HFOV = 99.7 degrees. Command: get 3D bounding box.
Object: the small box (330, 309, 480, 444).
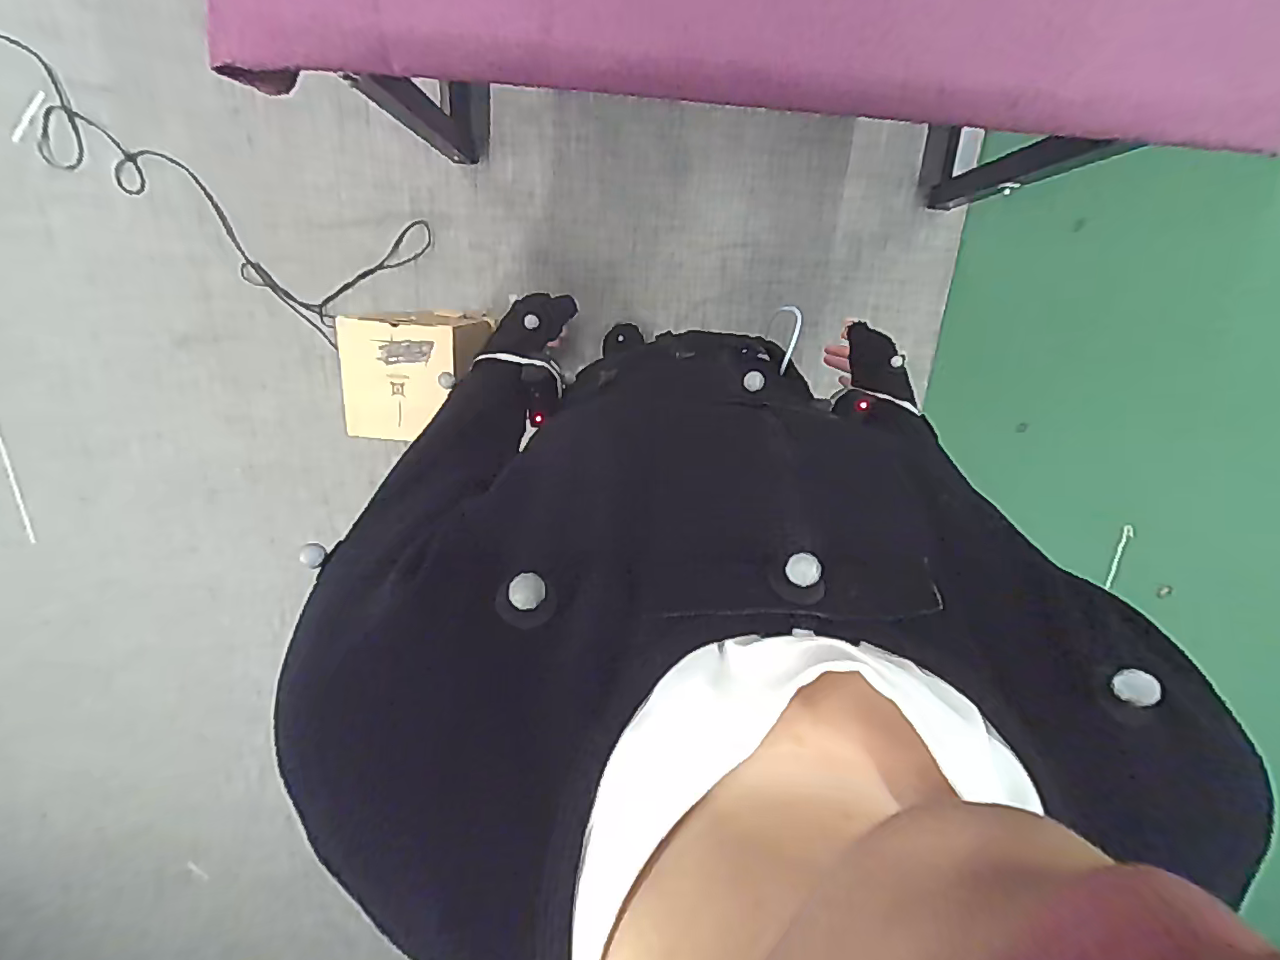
[{"bbox_3d":[-0.359,-0.171,0.854,0.168,0.176,0.179,6,111,-2],"label":"small box"}]
